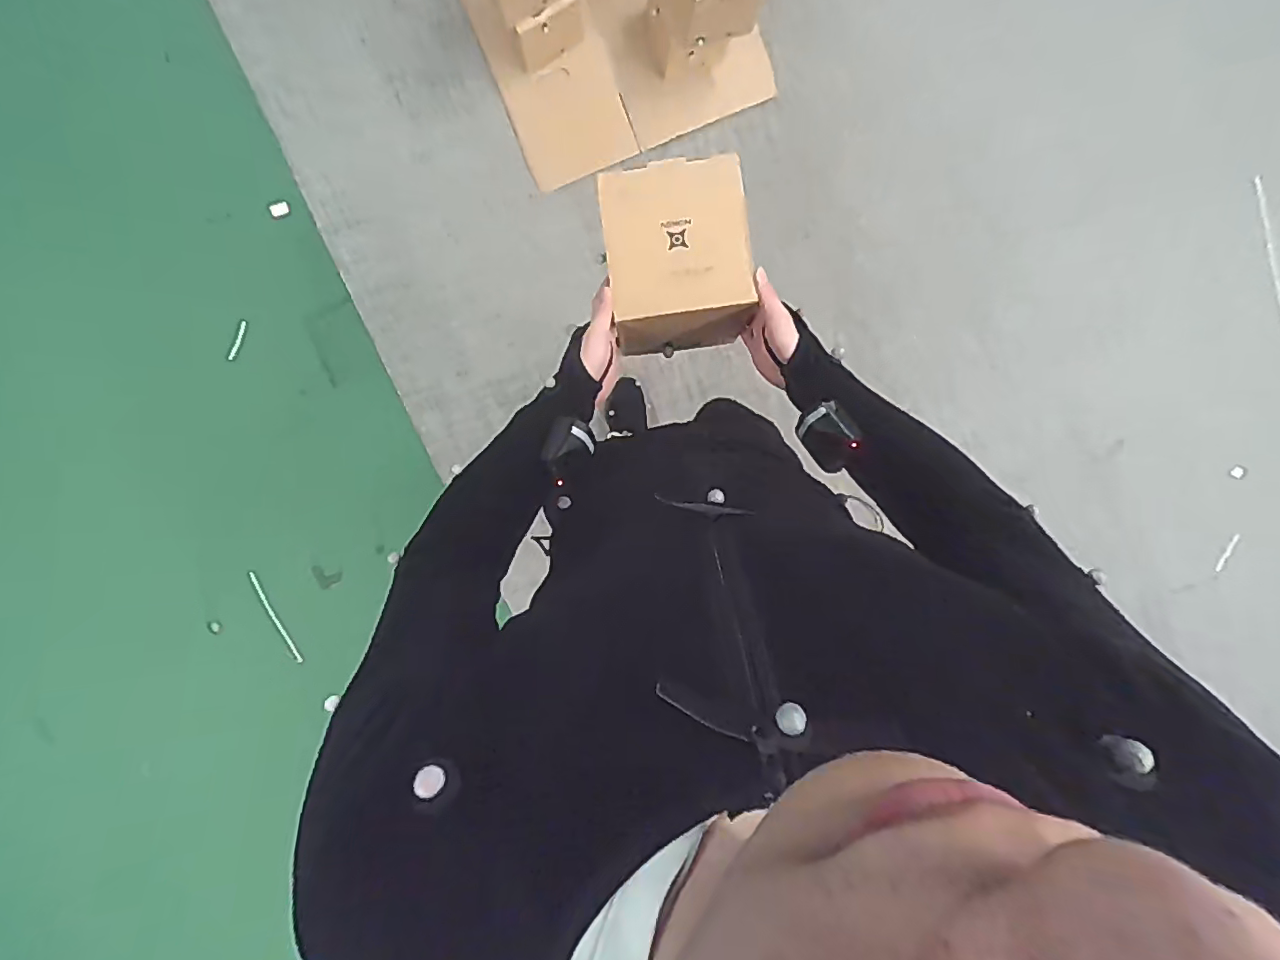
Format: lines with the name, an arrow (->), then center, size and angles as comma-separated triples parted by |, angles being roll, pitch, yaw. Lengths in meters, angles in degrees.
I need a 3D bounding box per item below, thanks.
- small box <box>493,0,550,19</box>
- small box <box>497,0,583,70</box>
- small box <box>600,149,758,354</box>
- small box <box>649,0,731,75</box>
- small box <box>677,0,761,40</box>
small box -> -0.269, -1.132, 1.140 | 0.168, 0.176, 0.179 | -29, 99, 2
small box -> -0.252, -1.154, 1.304 | 0.168, 0.176, 0.179 | -30, 99, 3
small box -> 0.043, -0.274, 0.681 | 0.168, 0.176, 0.179 | -6, 88, 1
small box -> 0.125, -1.137, 1.323 | 0.168, 0.176, 0.179 | -18, 99, 1
small box -> 0.169, -1.095, 1.164 | 0.168, 0.176, 0.179 | -14, 99, 0
